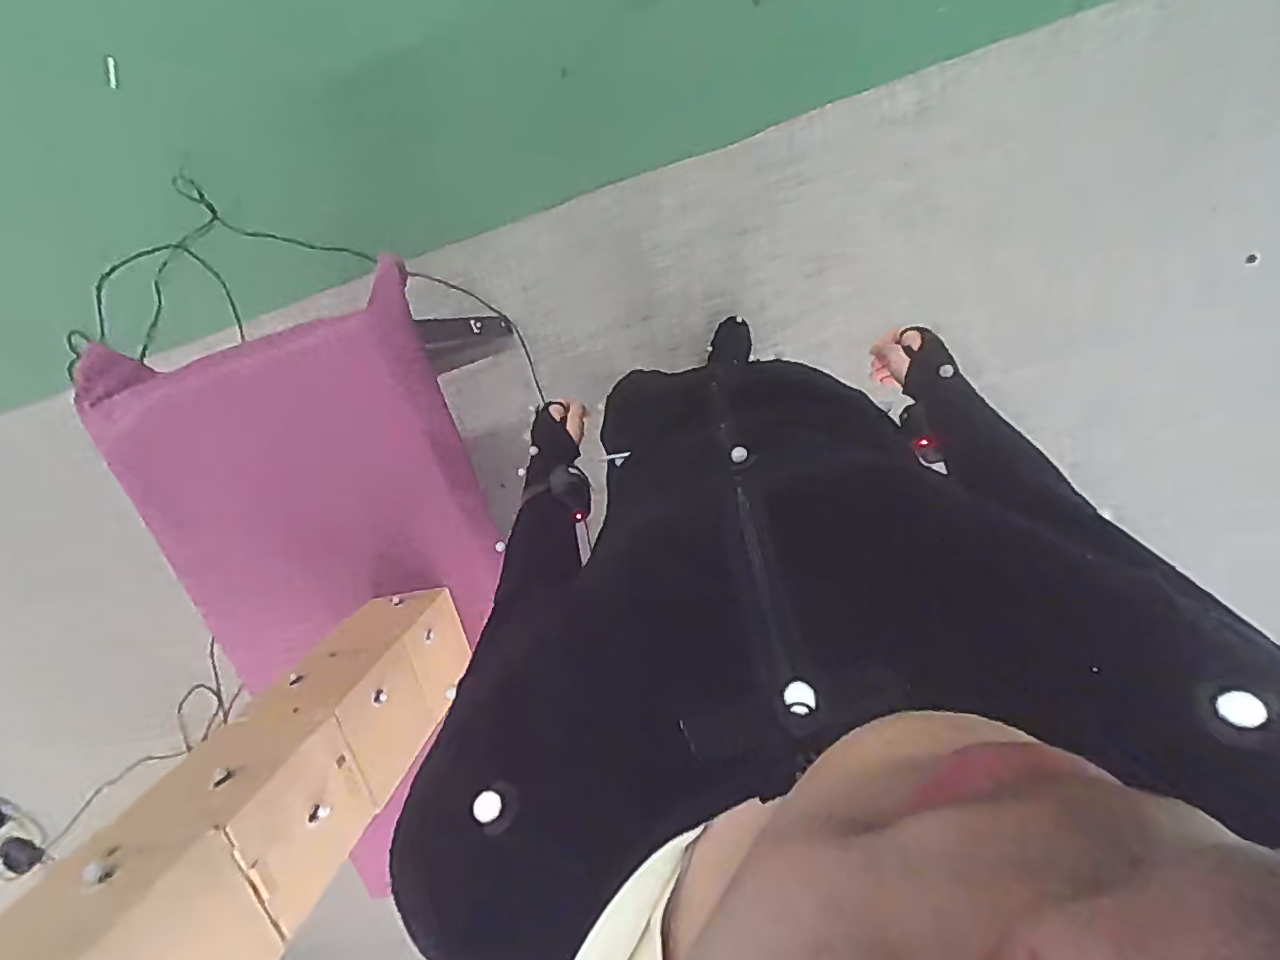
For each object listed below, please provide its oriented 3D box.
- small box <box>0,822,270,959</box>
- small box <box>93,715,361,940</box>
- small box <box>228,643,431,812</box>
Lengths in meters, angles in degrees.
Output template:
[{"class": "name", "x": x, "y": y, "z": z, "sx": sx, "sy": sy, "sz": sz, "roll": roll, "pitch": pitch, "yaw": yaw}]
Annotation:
[{"class": "small box", "x": -0.491, "y": 0.454, "z": 0.492, "sx": 0.168, "sy": 0.176, "sz": 0.179, "roll": -13, "pitch": 104, "yaw": 11}, {"class": "small box", "x": -0.469, "y": 0.407, "z": 0.649, "sx": 0.179, "sy": 0.176, "sz": 0.168, "roll": -11, "pitch": 104, "yaw": 10}, {"class": "small box", "x": -0.444, "y": 0.359, "z": 0.802, "sx": 0.168, "sy": 0.176, "sz": 0.179, "roll": -11, "pitch": 105, "yaw": 10}]
